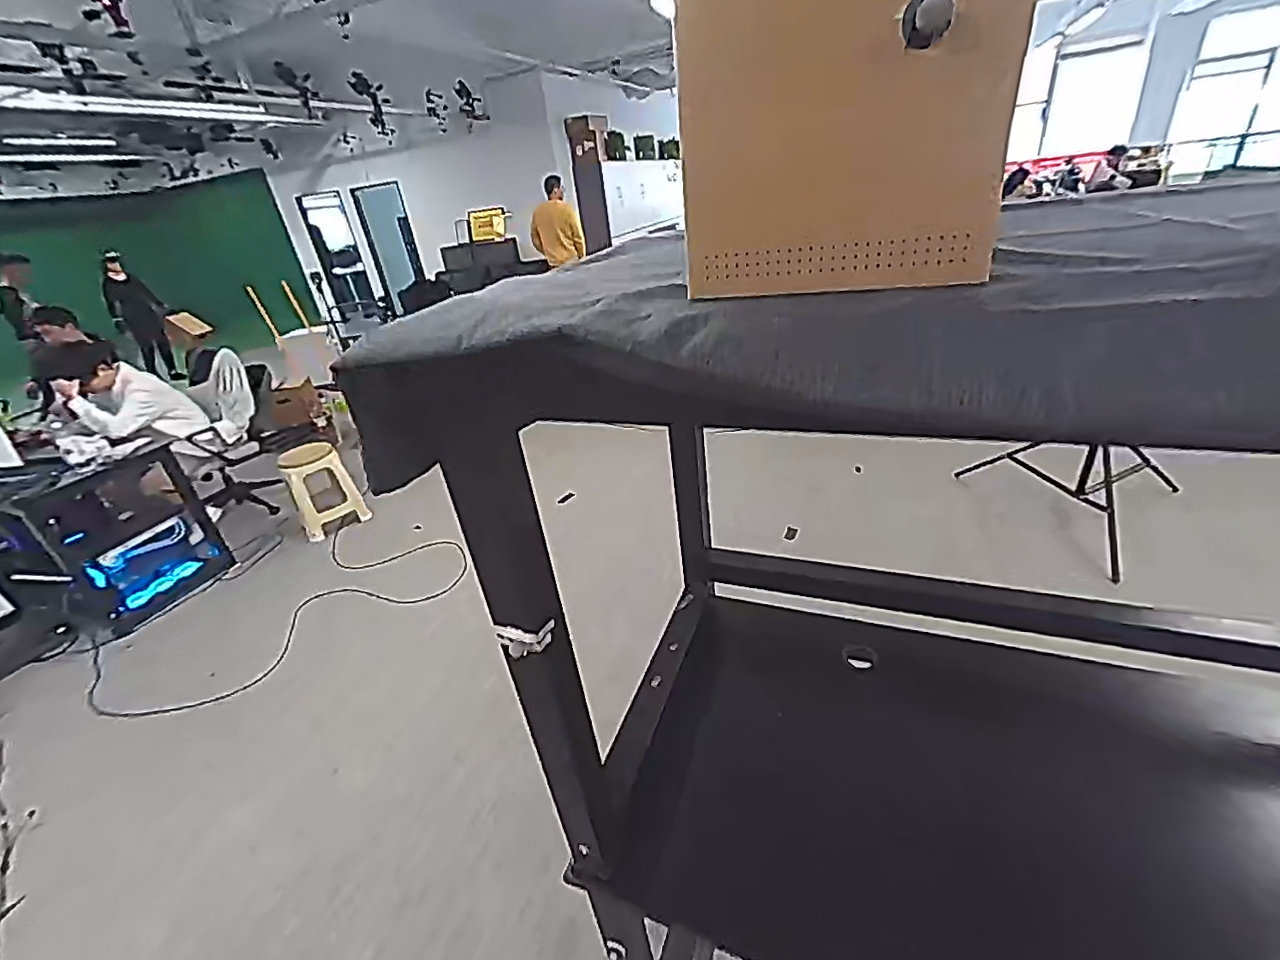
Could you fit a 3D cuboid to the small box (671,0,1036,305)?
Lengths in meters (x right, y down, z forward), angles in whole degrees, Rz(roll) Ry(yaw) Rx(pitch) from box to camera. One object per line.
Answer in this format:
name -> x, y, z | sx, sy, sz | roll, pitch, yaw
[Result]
small box -> 0.130, -0.220, 0.361 | 0.179, 0.176, 0.168 | 3, 28, 19
